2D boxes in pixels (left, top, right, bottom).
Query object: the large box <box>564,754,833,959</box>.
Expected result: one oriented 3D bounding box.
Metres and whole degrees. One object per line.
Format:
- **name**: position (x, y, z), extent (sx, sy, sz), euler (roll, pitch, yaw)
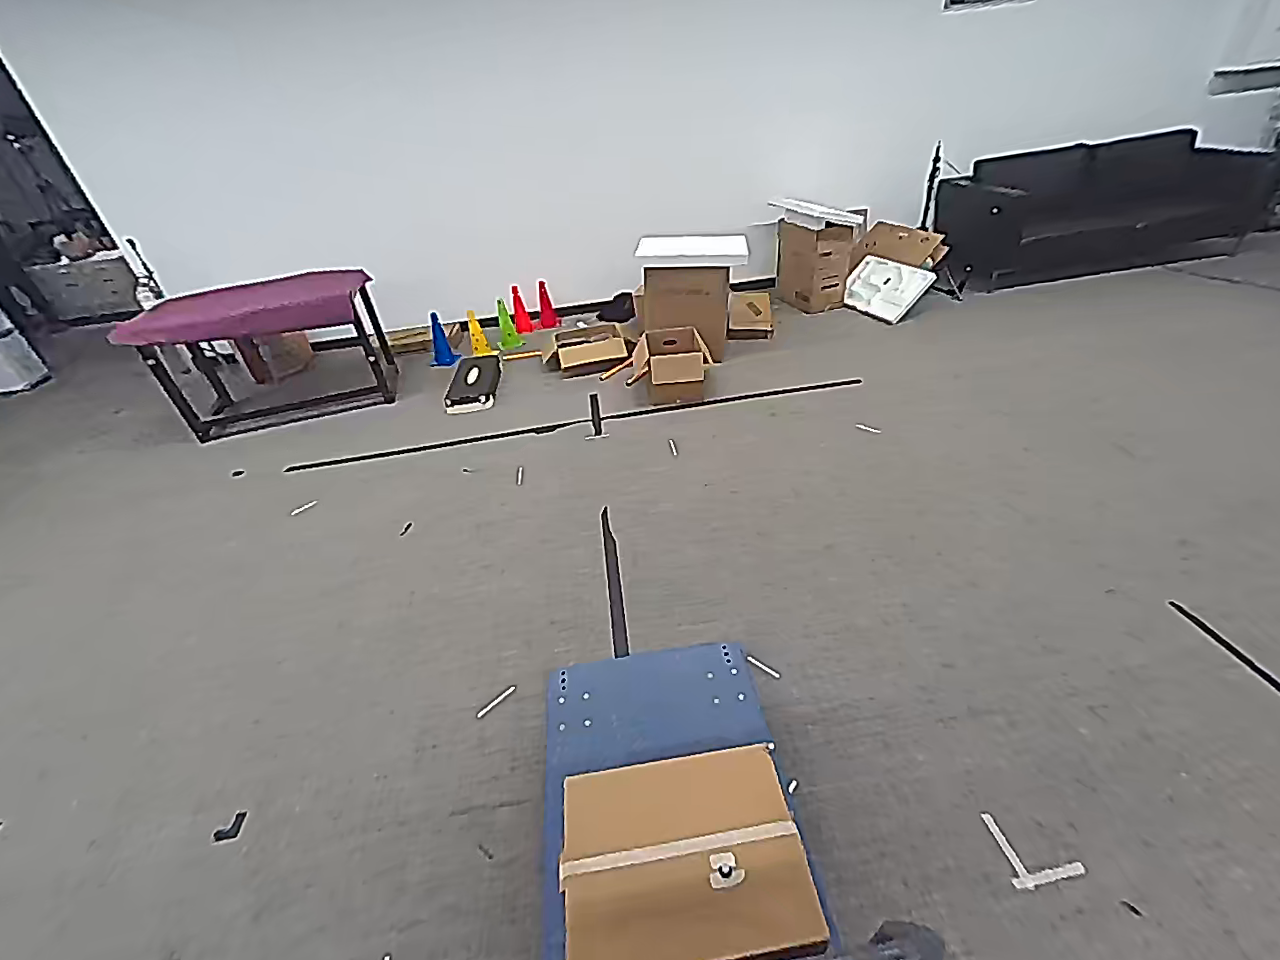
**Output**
- **large box**: position (0.083, 0.763, 0.989), extent (0.408, 0.320, 0.320), euler (-8, 36, -4)
